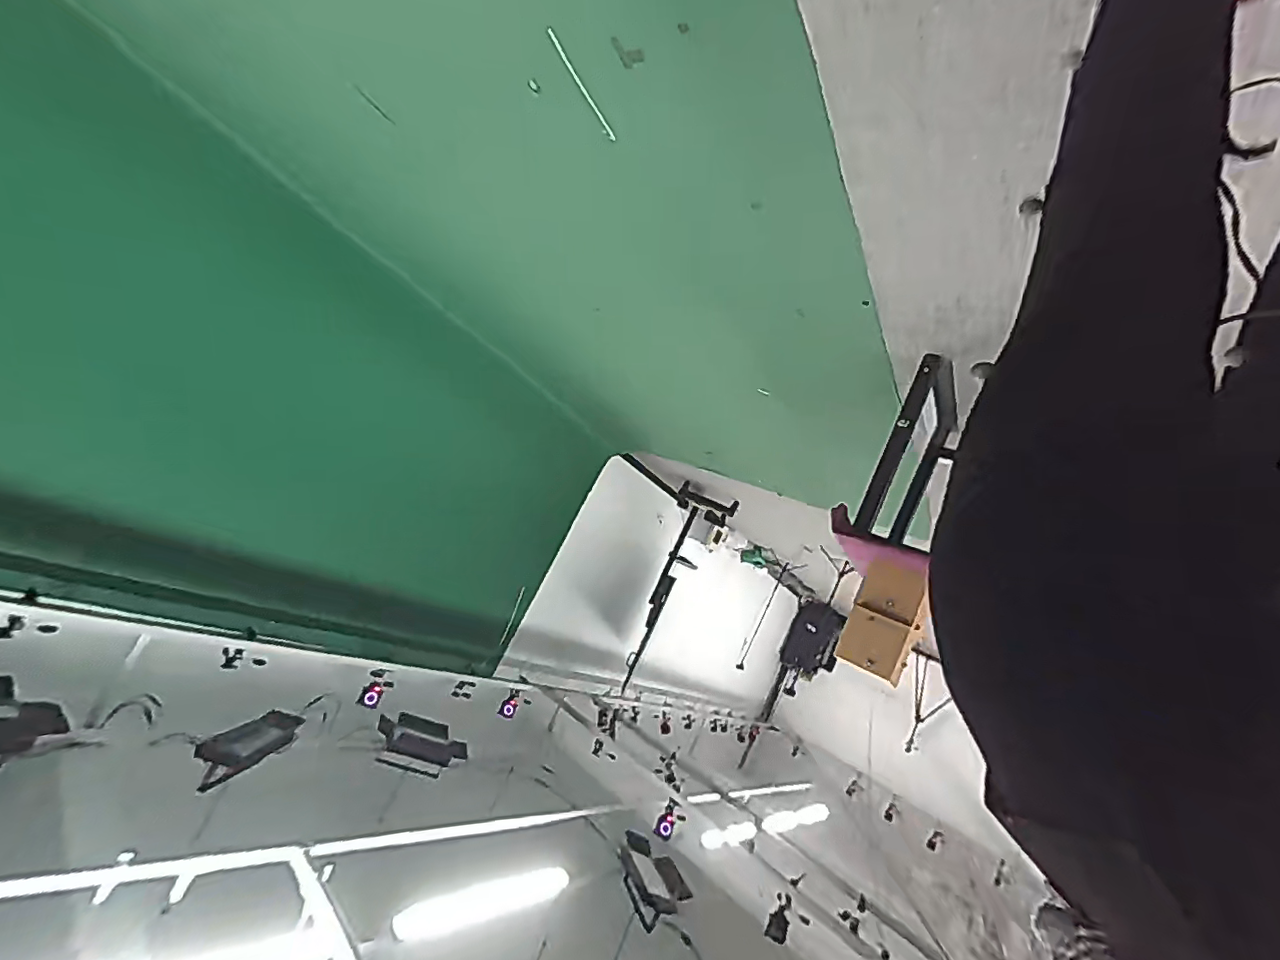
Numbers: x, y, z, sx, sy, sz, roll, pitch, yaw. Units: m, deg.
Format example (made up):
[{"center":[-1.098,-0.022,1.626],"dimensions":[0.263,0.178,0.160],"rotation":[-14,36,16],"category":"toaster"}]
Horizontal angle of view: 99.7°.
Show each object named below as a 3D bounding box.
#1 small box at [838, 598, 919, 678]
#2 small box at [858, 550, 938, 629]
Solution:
[{"center":[0.722,0.473,1.624],"dimensions":[0.168,0.176,0.179],"rotation":[18,169,37],"category":"small box"},{"center":[0.801,0.334,1.665],"dimensions":[0.179,0.176,0.168],"rotation":[19,168,39],"category":"small box"}]
